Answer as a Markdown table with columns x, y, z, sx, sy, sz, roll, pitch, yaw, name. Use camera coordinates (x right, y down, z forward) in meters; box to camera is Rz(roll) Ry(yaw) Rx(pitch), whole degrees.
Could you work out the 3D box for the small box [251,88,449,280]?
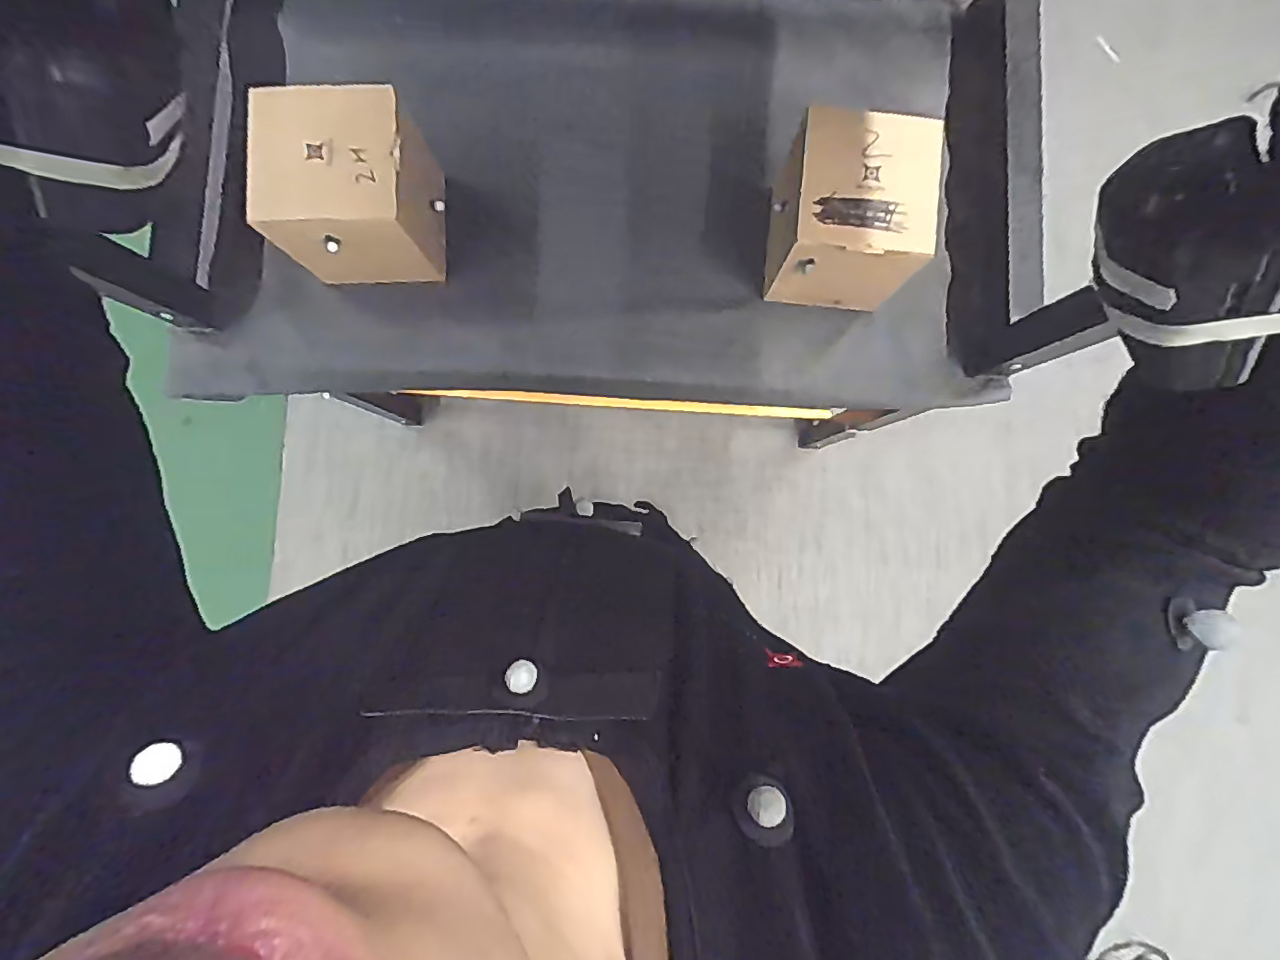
| x | y | z | sx | sy | sz | roll | pitch | yaw | name |
| --- | --- | --- | --- | --- | --- | --- | --- | --- | --- |
| -0.369 | -0.377 | 0.716 | 0.179 | 0.176 | 0.168 | -1 | 87 | -2 | small box |
